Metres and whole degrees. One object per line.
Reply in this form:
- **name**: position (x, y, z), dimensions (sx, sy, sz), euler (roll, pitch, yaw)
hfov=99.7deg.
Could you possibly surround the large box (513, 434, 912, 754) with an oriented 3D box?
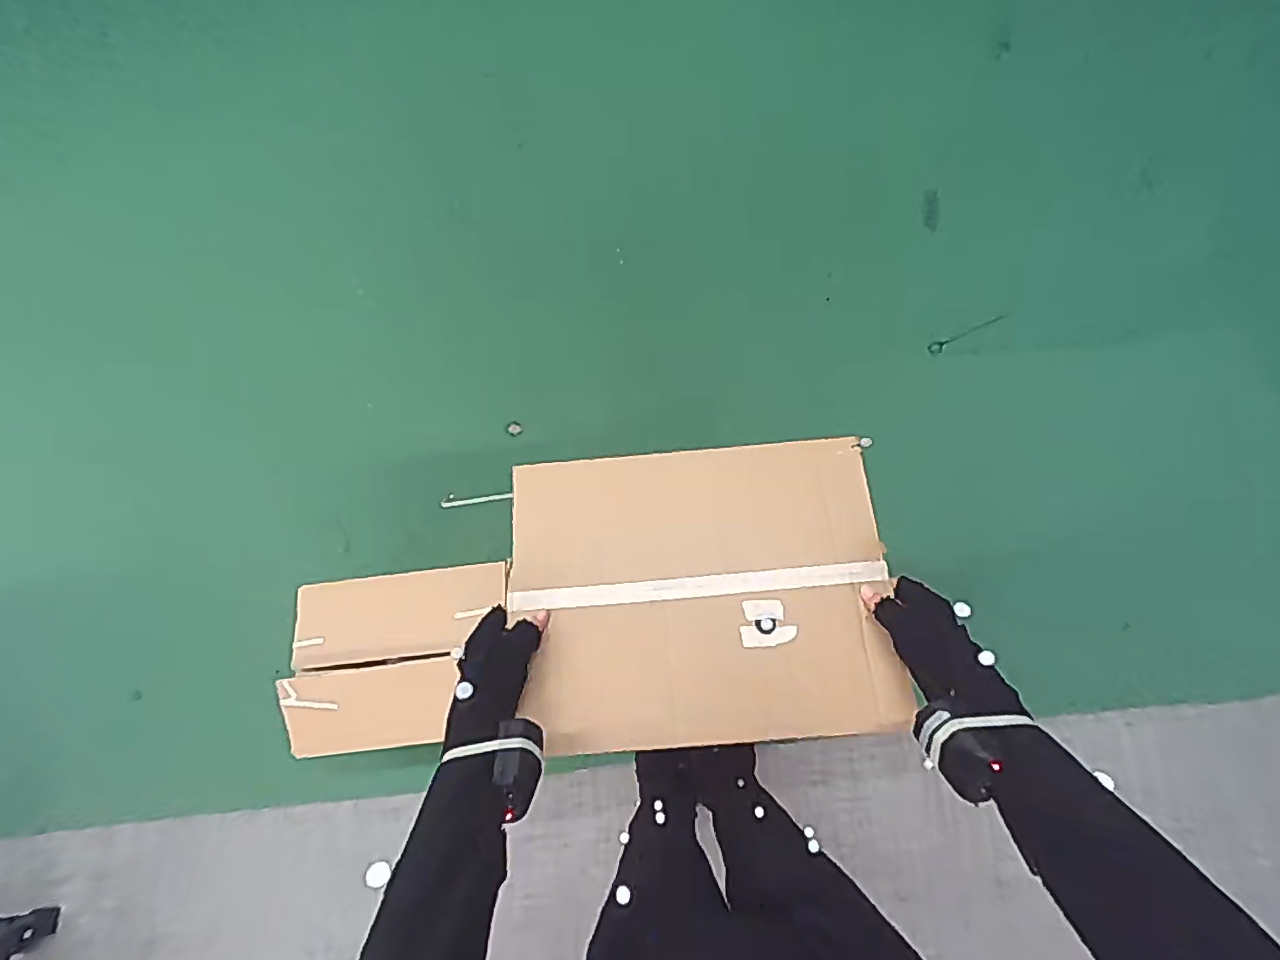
- **large box**: position (0.067, 0.156, 0.725), dimensions (0.408, 0.320, 0.320), euler (-5, 73, 1)
